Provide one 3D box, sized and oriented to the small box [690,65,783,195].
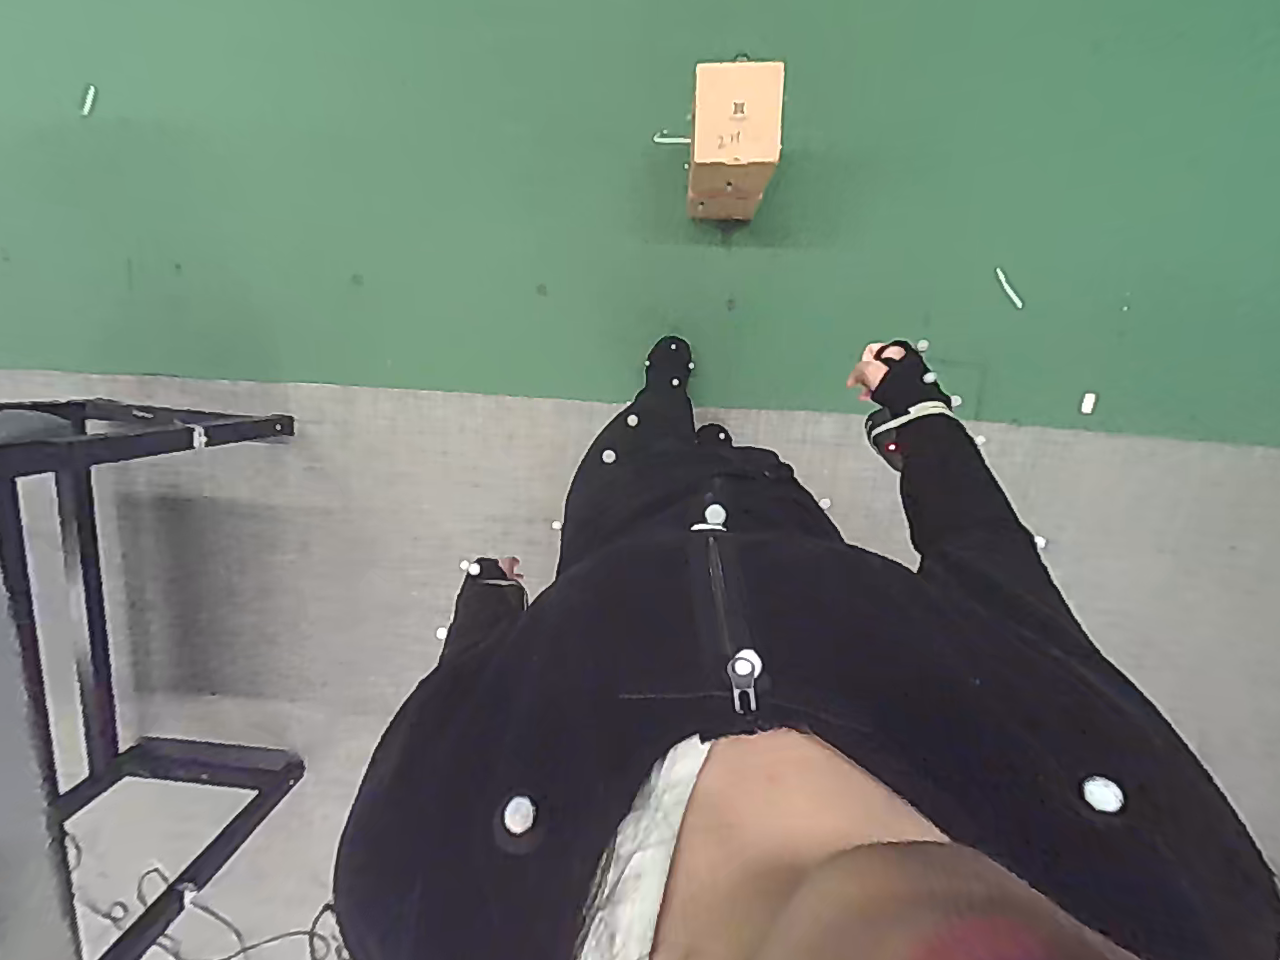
[{"bbox_3d":[0.191,-0.709,1.111,0.168,0.176,0.179,1,100,3],"label":"small box"}]
